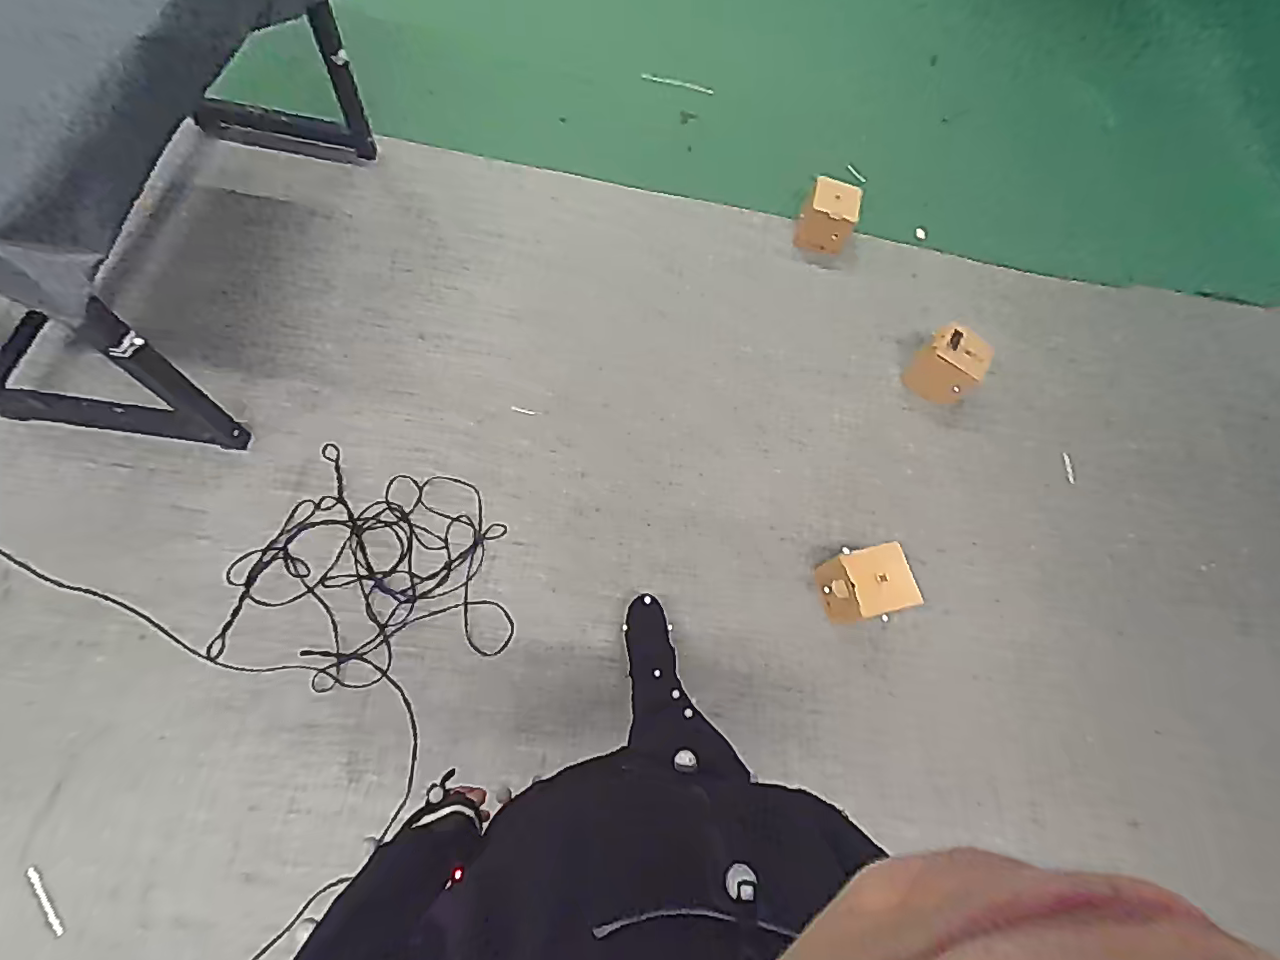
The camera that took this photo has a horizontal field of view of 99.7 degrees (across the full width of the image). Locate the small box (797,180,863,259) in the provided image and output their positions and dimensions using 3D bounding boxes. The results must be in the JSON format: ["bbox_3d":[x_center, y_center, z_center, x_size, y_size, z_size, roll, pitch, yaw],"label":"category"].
[{"bbox_3d":[0.683,-0.937,1.958,0.168,0.176,0.179,17,65,-3],"label":"small box"}]

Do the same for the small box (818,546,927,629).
[{"bbox_3d":[0.604,0.287,1.426,0.179,0.176,0.168,-10,69,-12],"label":"small box"}]
